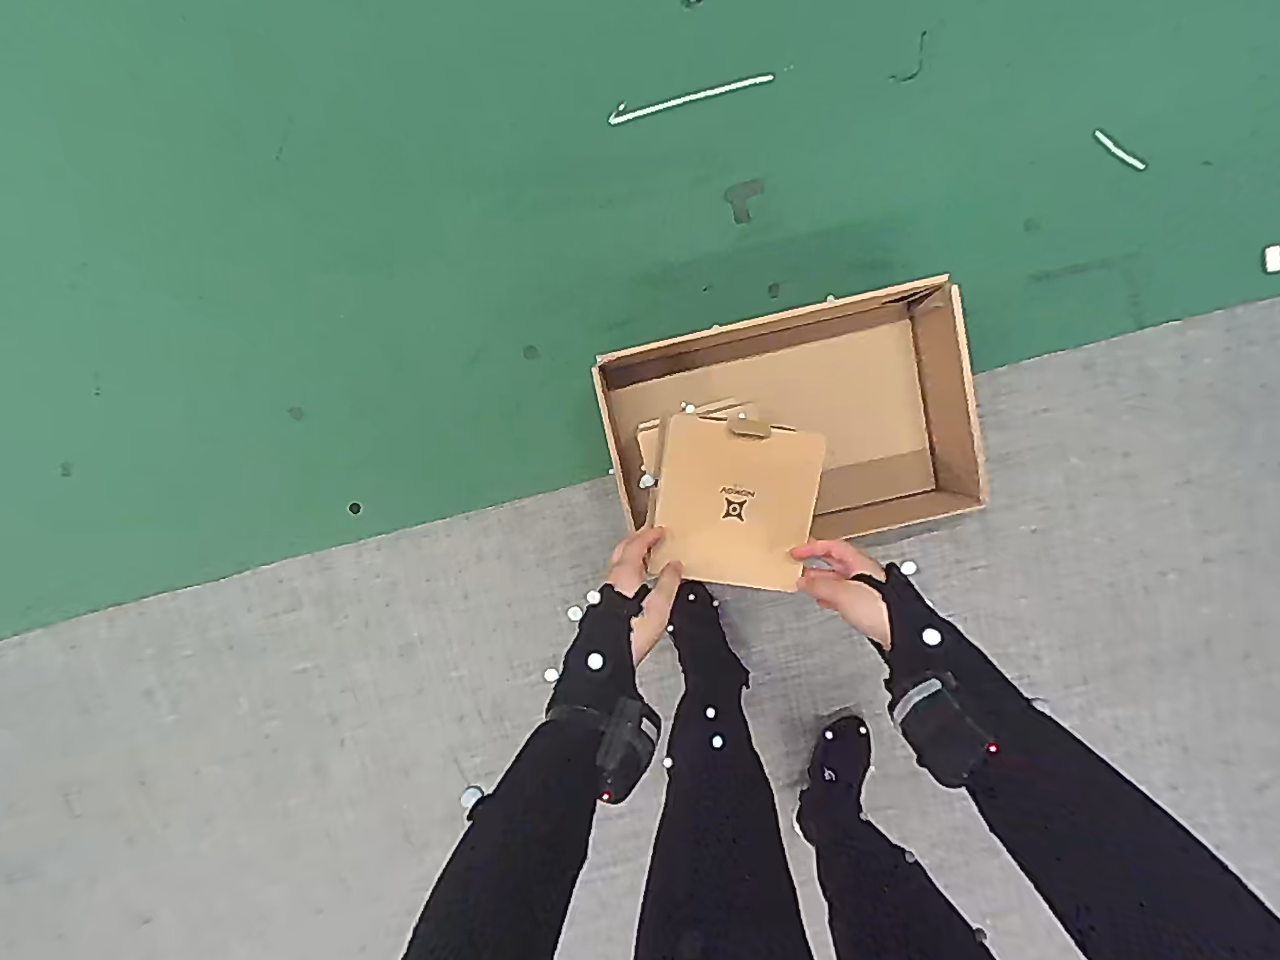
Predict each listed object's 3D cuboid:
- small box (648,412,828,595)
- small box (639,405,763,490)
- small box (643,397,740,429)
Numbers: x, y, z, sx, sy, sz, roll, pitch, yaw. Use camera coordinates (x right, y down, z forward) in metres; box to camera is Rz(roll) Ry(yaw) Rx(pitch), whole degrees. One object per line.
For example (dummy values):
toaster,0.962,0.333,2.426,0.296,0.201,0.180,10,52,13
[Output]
small box,0.102,0.017,0.643,0.168,0.176,0.179,8,96,-1
small box,0.099,-0.009,0.803,0.168,0.176,0.179,-14,96,1
small box,0.102,-0.041,0.964,0.168,0.176,0.179,-15,97,2
